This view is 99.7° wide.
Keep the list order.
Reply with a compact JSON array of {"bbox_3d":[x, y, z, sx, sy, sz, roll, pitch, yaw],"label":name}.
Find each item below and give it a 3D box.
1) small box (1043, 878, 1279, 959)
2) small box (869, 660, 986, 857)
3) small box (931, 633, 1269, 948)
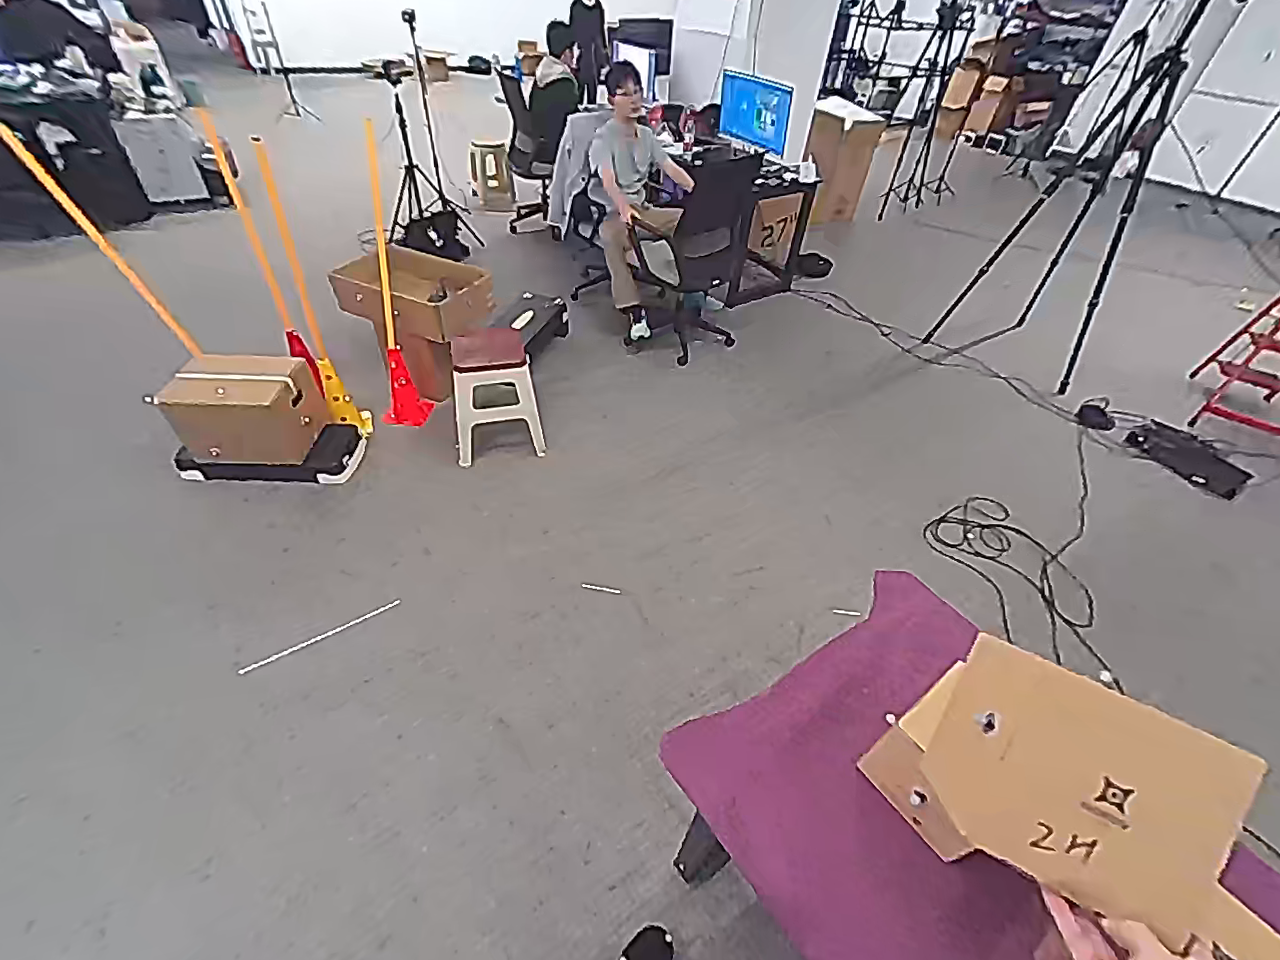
[{"bbox_3d":[0.636,0.584,0.635,0.168,0.176,0.179,-25,49,-27],"label":"small box"},{"bbox_3d":[0.469,0.413,0.802,0.179,0.176,0.168,-25,51,-27],"label":"small box"},{"bbox_3d":[0.412,0.269,0.524,0.168,0.176,0.179,25,91,17],"label":"small box"}]
